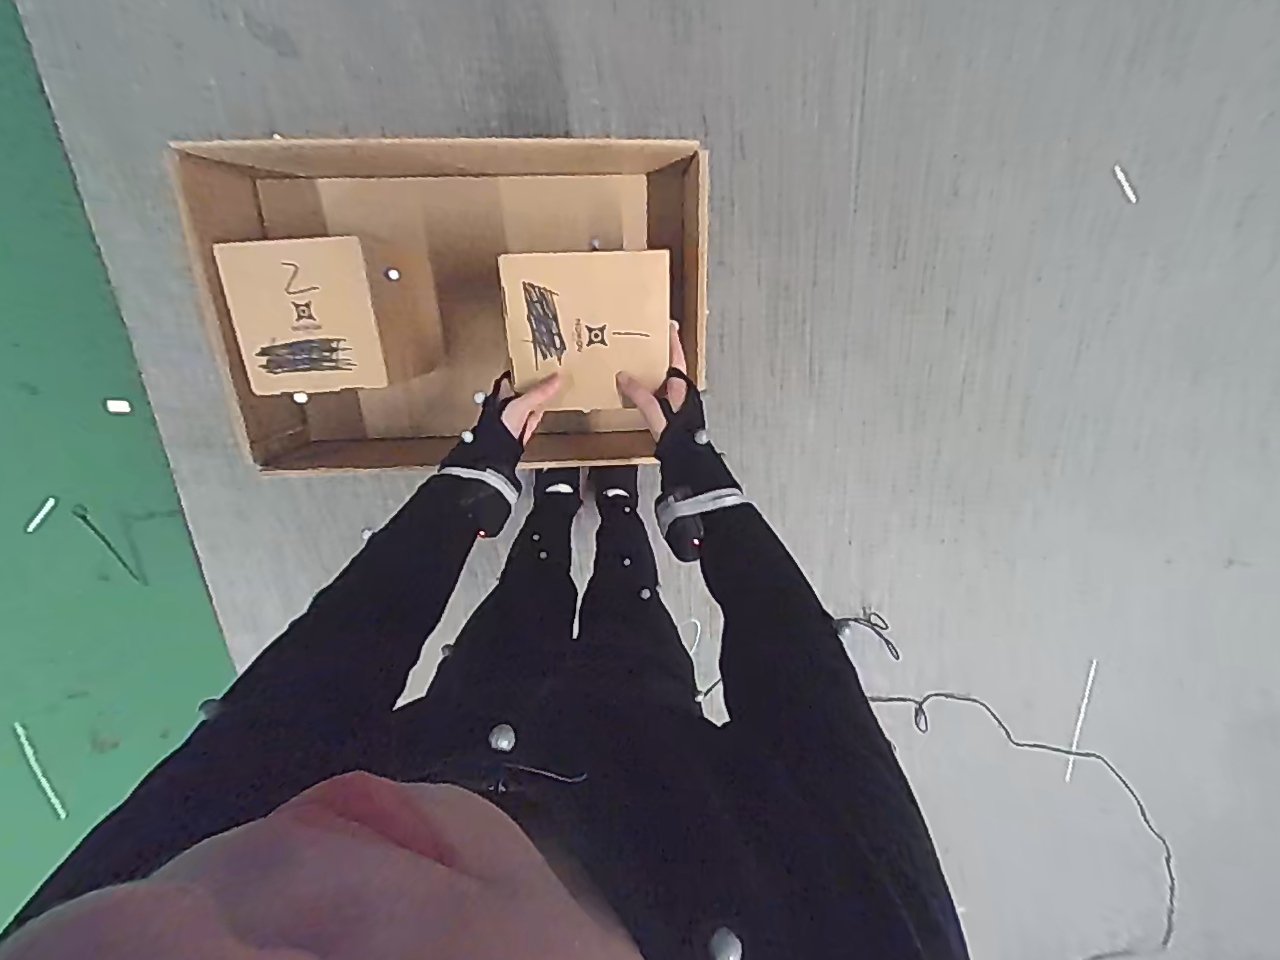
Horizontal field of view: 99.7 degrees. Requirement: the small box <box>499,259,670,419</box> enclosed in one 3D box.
[{"bbox_3d":[-0.055,-0.173,0.644,0.179,0.176,0.168,-2,112,0],"label":"small box"}]
